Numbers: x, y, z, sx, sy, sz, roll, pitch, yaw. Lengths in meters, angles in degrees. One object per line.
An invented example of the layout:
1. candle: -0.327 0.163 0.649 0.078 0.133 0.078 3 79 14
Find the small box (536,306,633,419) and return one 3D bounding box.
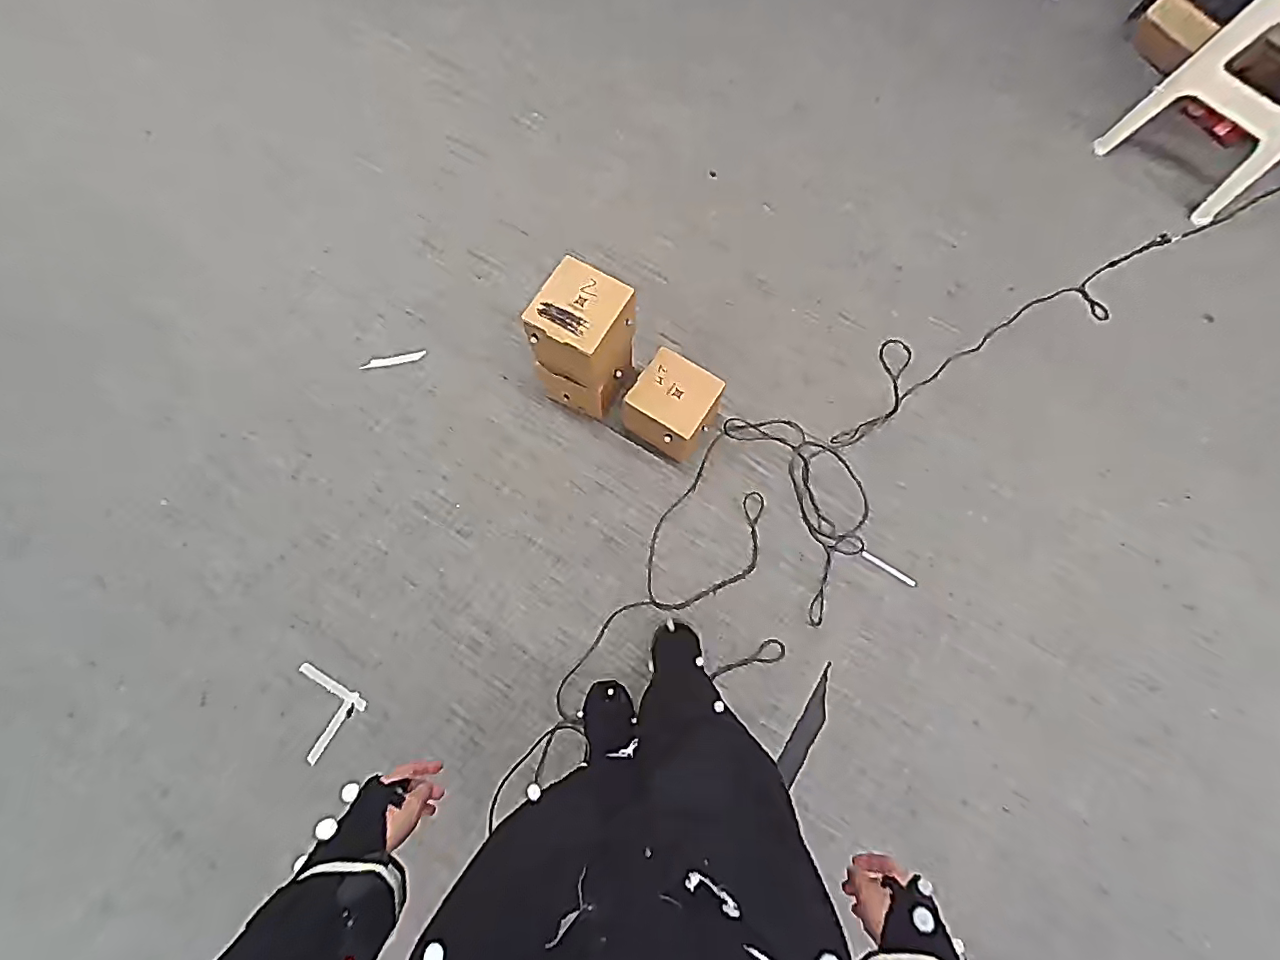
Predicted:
1. small box: -0.128 -0.278 1.303 0.168 0.176 0.179 24 76 6

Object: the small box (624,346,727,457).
1. small box: 0.079 -0.174 1.272 0.179 0.176 0.168 32 76 9
